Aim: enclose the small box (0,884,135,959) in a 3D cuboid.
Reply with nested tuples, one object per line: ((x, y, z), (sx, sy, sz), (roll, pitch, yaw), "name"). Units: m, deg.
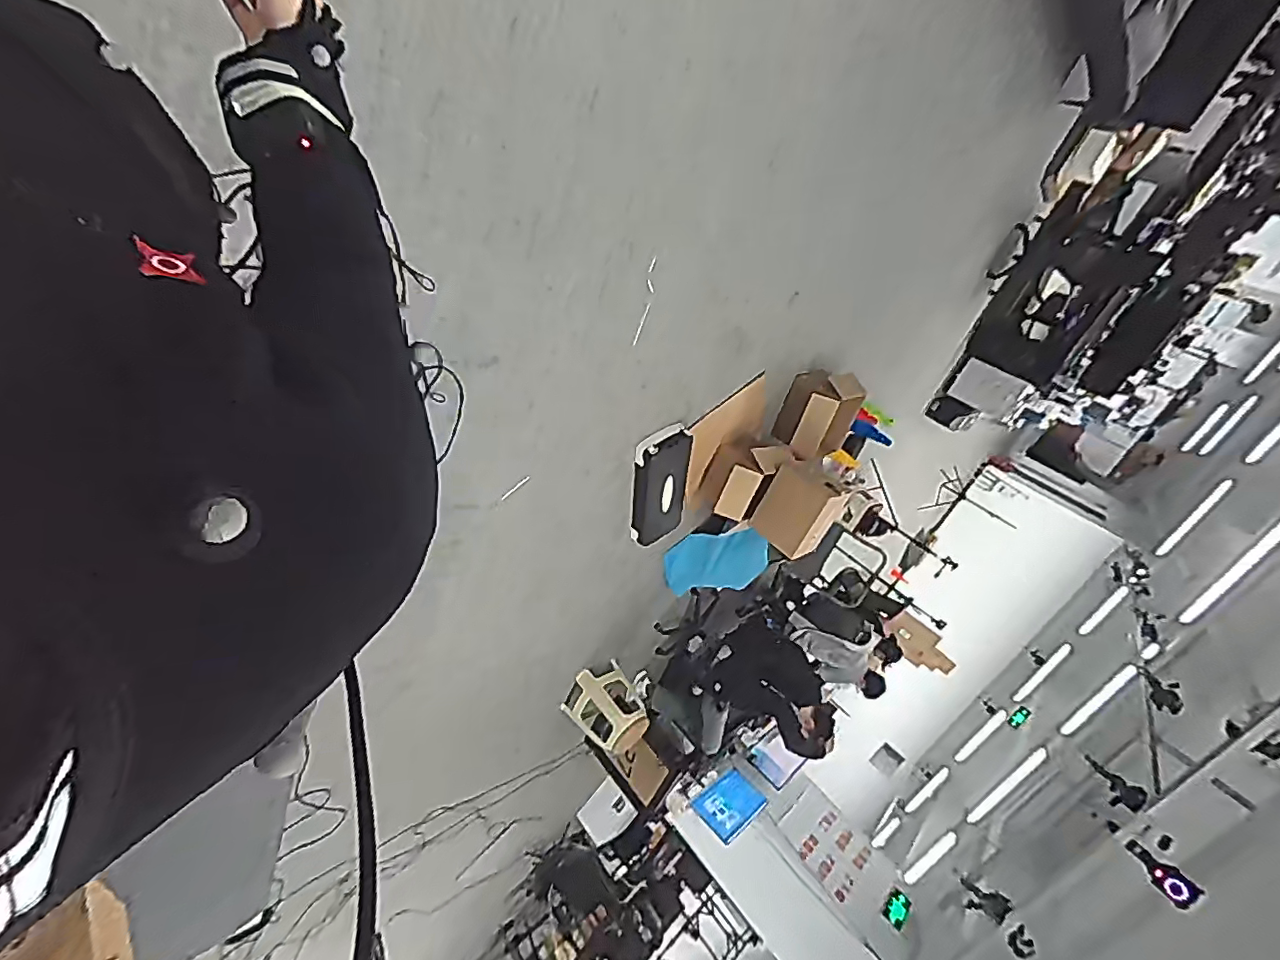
((-0.823, 0.709, 0.741), (0.168, 0.176, 0.179), (-21, 137, -38), "small box")
